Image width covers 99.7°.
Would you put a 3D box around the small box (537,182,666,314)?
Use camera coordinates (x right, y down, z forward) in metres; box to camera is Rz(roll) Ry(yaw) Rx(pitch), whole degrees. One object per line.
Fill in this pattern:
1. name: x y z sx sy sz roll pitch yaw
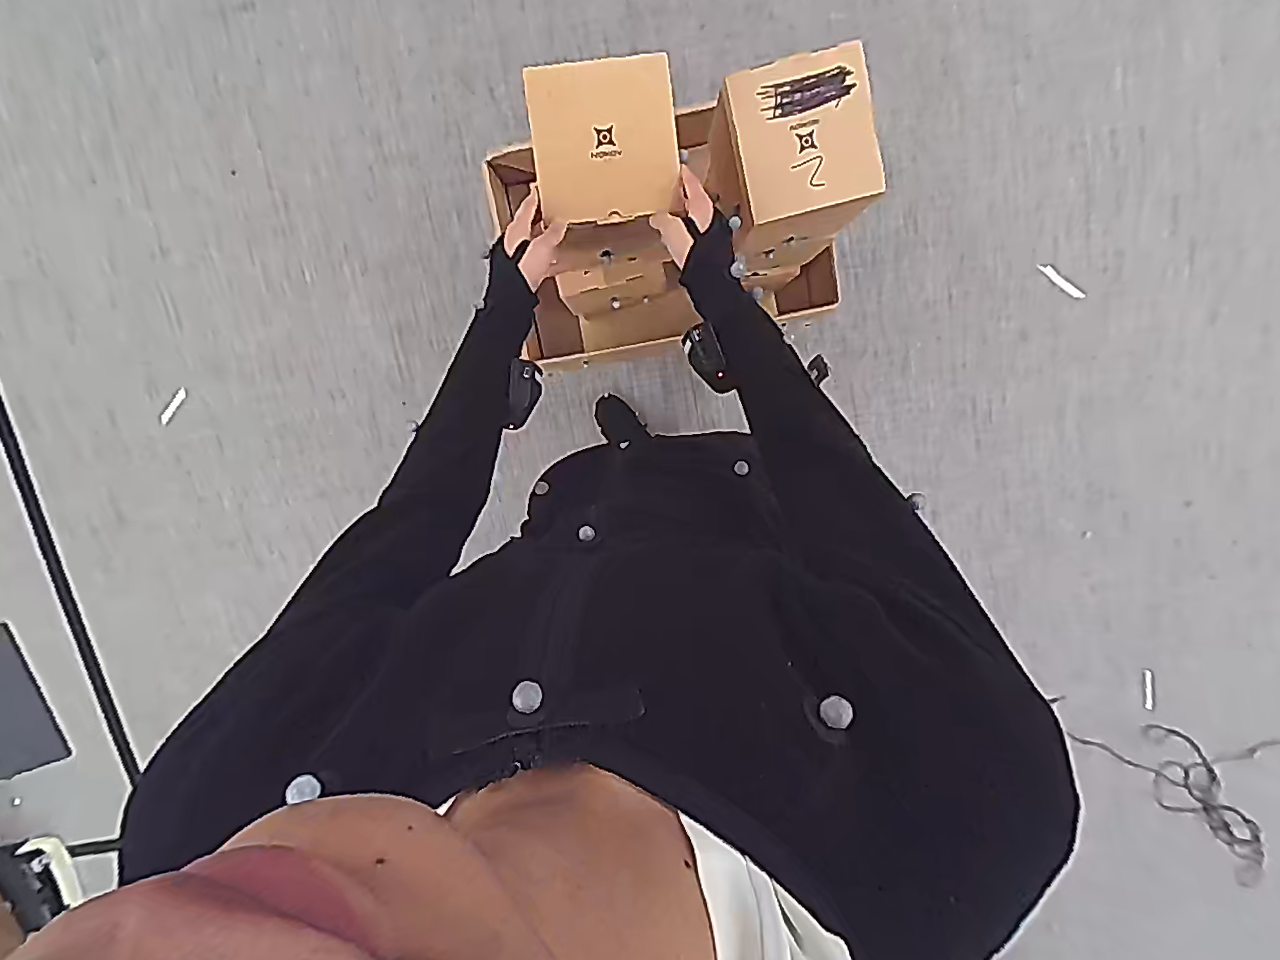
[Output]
1. small box: -0.059 -0.395 0.902 0.168 0.176 0.179 -15 99 2

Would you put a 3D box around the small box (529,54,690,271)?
1. small box: -0.037 -0.385 0.685 0.168 0.176 0.179 -8 97 -1

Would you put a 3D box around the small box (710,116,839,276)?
1. small box: 0.211 -0.453 0.887 0.168 0.176 0.179 -7 98 2
